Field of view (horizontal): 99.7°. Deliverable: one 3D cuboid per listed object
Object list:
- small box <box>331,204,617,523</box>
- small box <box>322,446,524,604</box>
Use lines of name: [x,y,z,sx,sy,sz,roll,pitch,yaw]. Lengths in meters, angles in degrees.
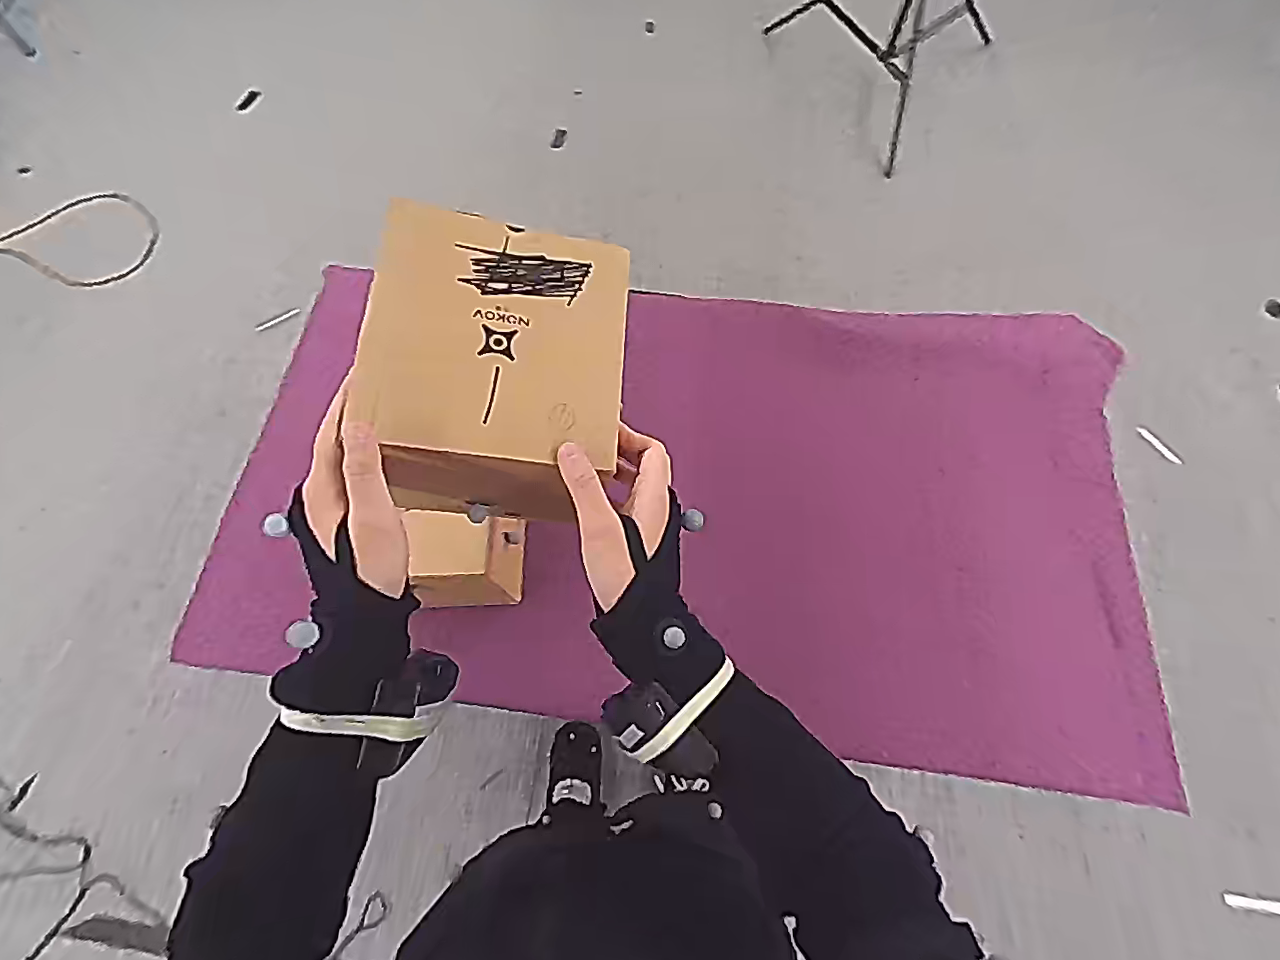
small box: [-0.118,-0.072,0.429,0.168,0.176,0.179,6,73,-13]
small box: [-0.240,0.054,0.655,0.179,0.176,0.168,-2,68,1]
